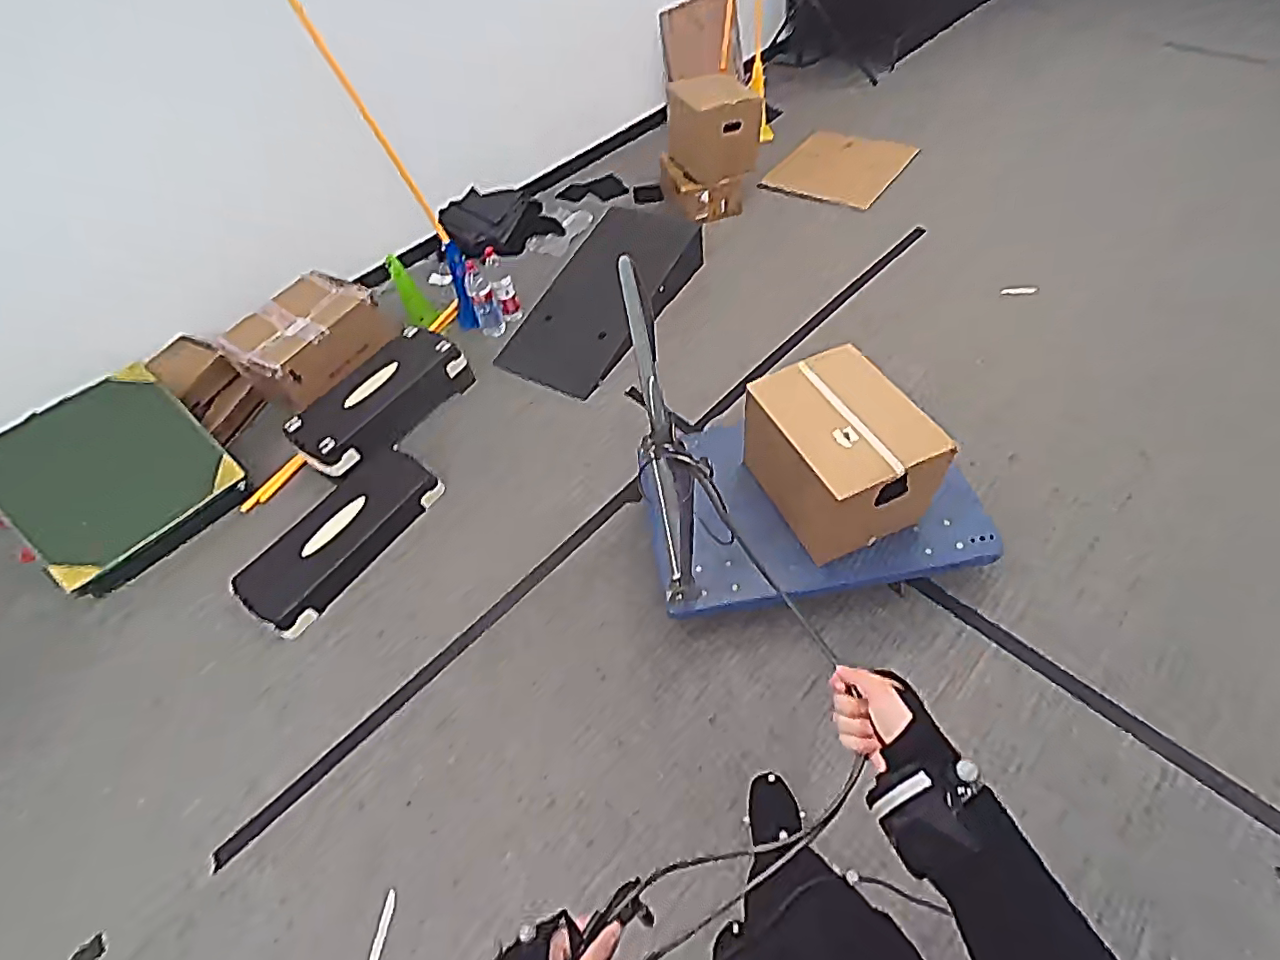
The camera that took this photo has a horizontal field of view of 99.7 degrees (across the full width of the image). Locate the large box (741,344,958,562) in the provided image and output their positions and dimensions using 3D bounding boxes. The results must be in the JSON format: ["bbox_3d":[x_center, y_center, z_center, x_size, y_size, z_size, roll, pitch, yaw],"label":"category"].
[{"bbox_3d":[0.495,-0.071,1.390,0.320,0.320,0.408,-23,56,-7],"label":"large box"}]
